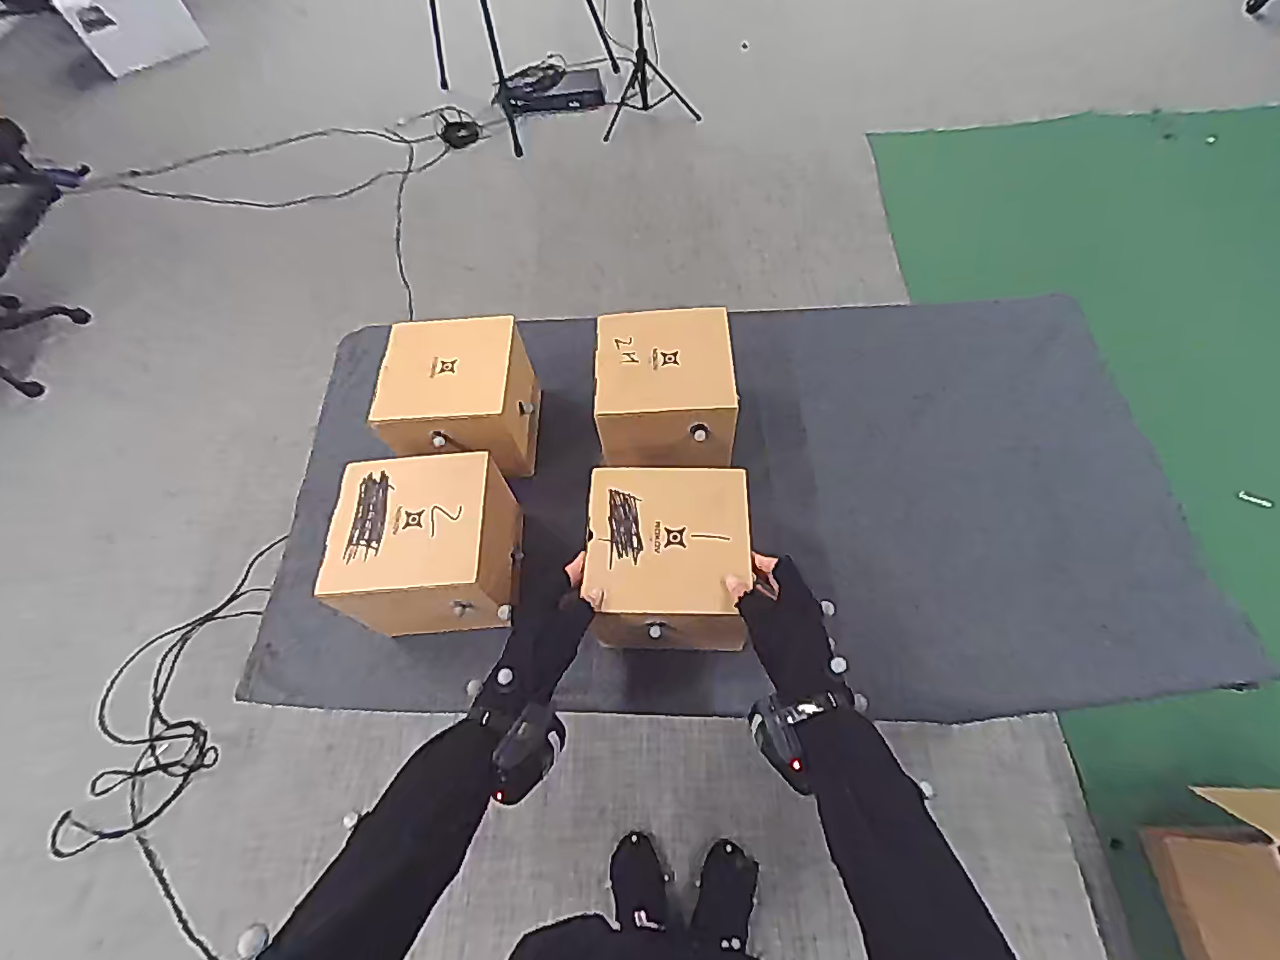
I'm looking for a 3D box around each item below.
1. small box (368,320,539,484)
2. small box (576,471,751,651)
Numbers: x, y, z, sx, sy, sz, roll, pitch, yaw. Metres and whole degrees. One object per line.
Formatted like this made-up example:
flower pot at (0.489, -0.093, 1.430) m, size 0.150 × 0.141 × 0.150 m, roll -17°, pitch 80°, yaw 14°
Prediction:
small box at (-0.252, -0.105, 0.780) m, size 0.179 × 0.176 × 0.168 m, roll -4°, pitch 62°, yaw 4°
small box at (0.032, 0.102, 0.638) m, size 0.179 × 0.176 × 0.168 m, roll 0°, pitch 62°, yaw 5°
